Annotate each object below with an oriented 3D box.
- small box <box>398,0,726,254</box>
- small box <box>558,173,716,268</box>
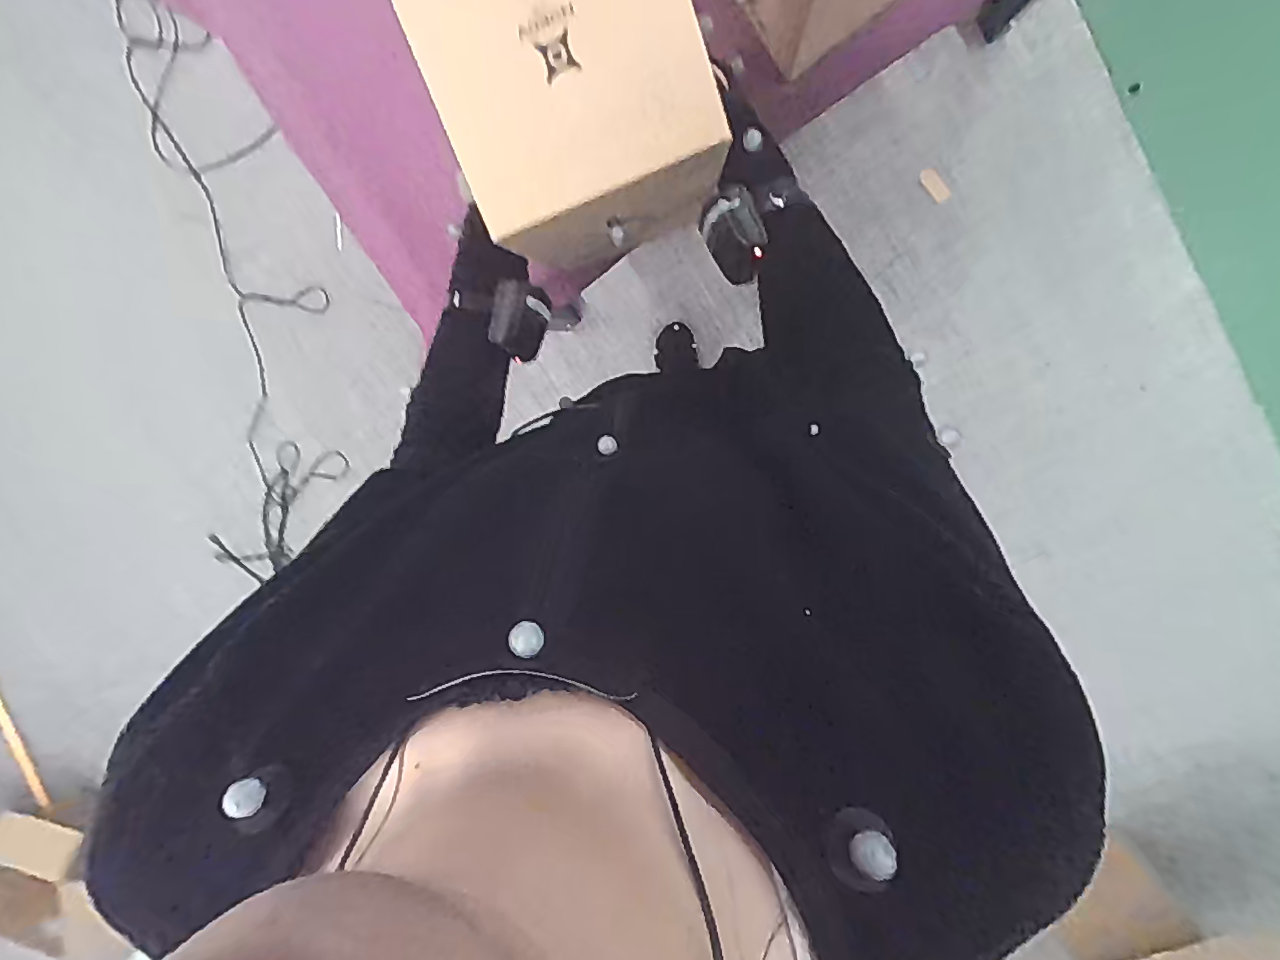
[{"bbox_3d":[-0.043,-0.280,0.394,0.168,0.176,0.179,-18,102,8],"label":"small box"},{"bbox_3d":[-0.030,-0.331,0.551,0.179,0.176,0.168,-16,103,7],"label":"small box"}]
